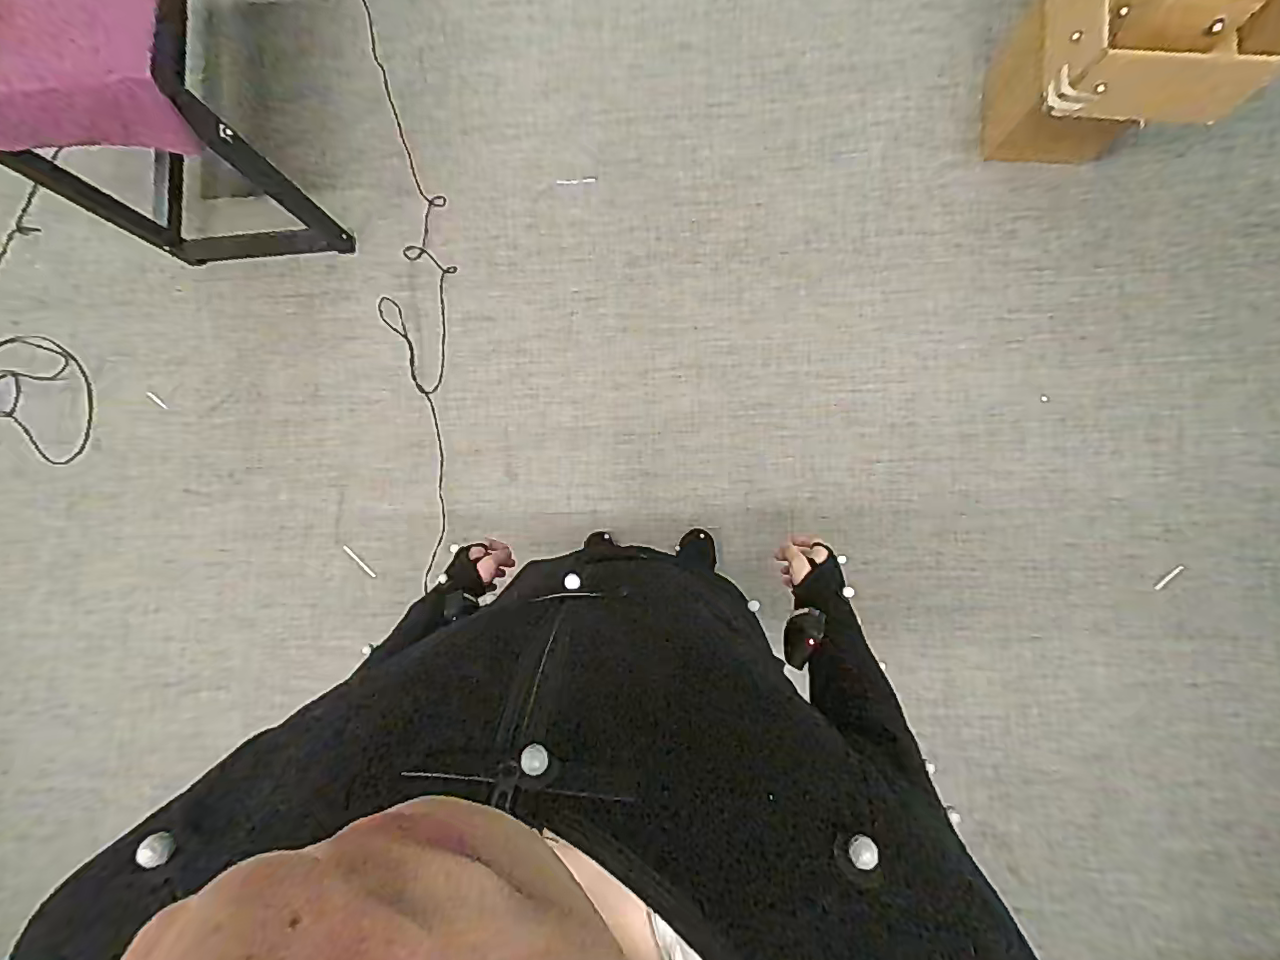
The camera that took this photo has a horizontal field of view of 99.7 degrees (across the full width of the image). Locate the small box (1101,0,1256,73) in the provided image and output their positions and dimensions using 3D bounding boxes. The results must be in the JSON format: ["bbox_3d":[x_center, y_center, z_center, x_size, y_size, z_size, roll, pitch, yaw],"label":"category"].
[{"bbox_3d":[1.160,-1.025,1.167,0.179,0.176,0.168,10,86,4],"label":"small box"}]

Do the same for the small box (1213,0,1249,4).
[{"bbox_3d":[1.151,-1.042,1.006,0.179,0.176,0.168,9,86,4],"label":"small box"}]
